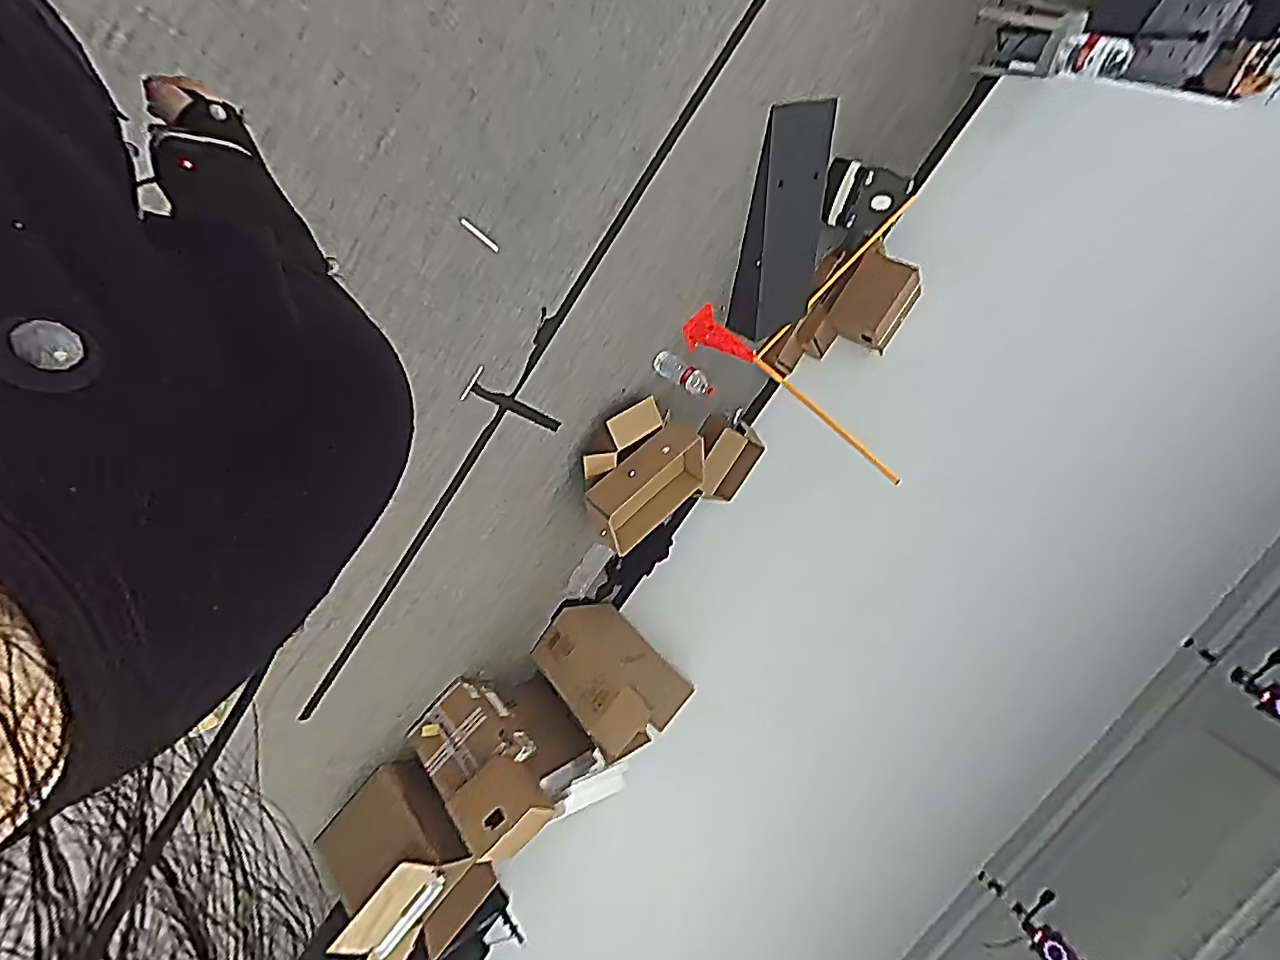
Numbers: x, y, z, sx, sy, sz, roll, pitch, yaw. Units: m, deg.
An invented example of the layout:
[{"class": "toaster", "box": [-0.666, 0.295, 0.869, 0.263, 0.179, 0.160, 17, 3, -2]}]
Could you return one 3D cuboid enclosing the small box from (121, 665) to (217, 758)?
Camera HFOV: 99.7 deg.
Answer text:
[{"class": "small box", "box": [-1.453, 0.704, 1.668, 0.168, 0.176, 0.179, -25, 143, -38]}]
